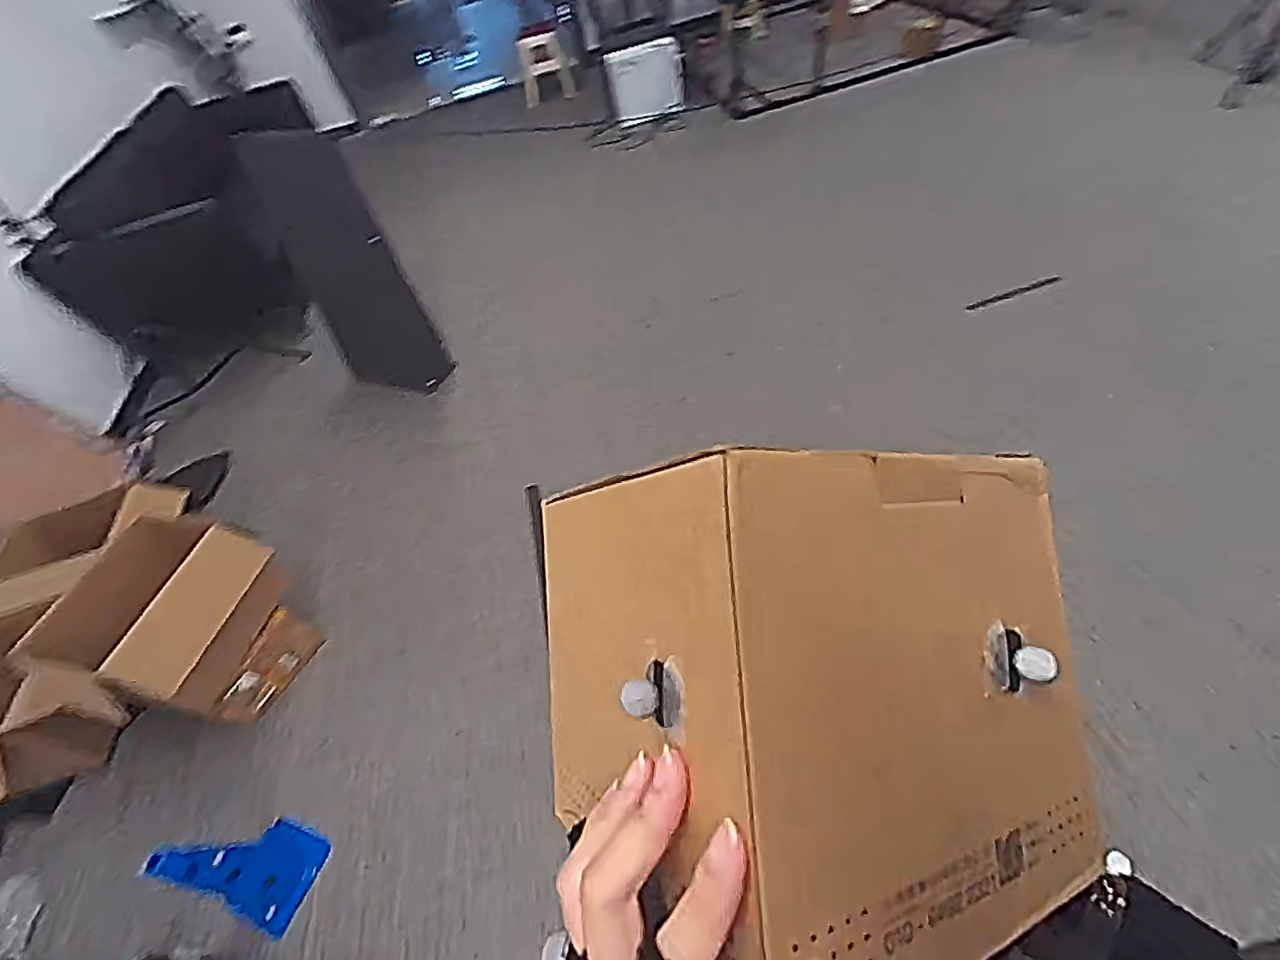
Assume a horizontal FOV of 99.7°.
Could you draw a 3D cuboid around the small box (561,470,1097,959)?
[{"bbox_3d":[0.070,0.090,0.255,0.168,0.179,0.176,0,83,-27],"label":"small box"}]
